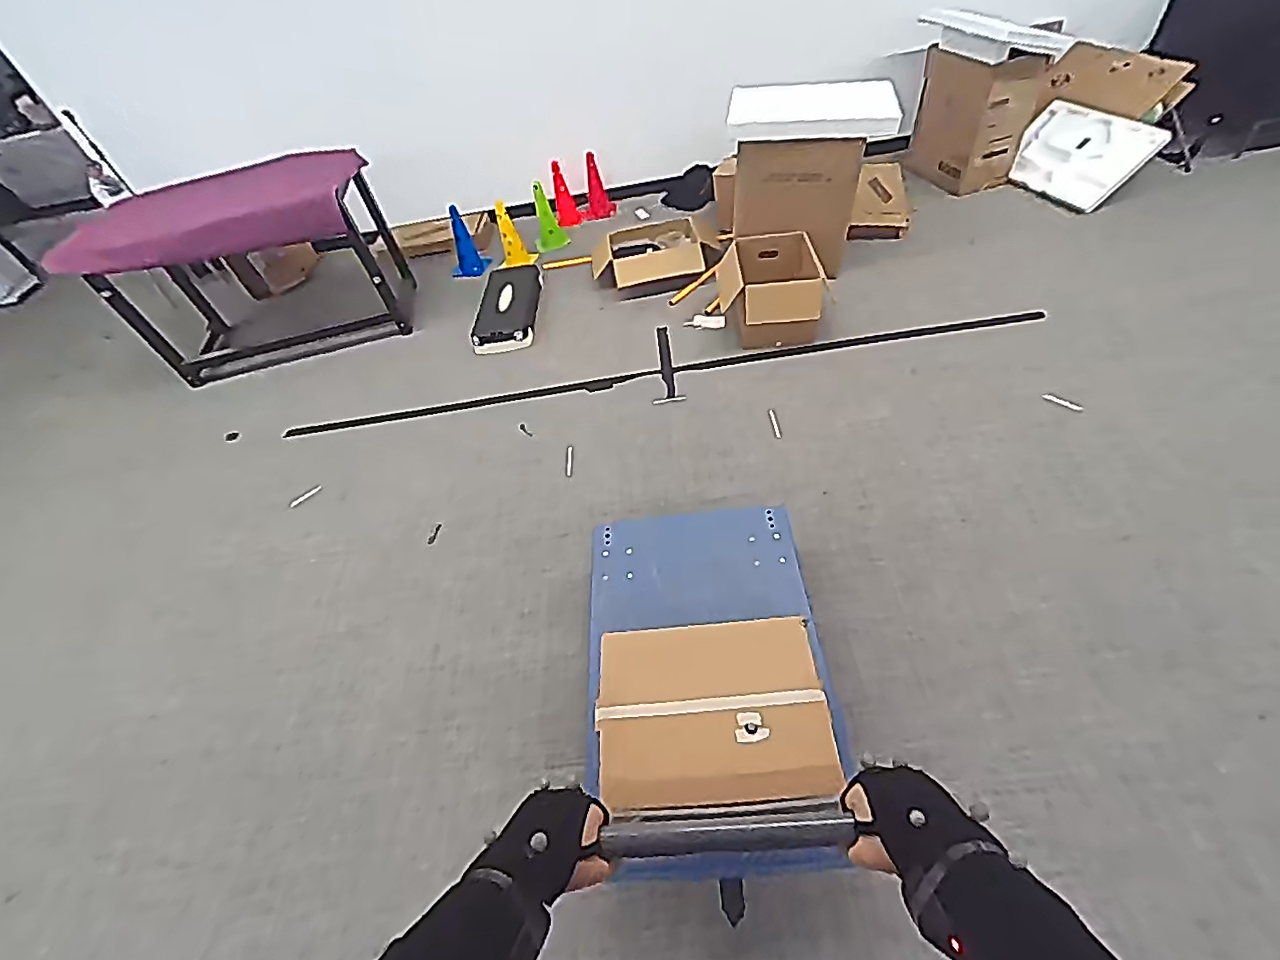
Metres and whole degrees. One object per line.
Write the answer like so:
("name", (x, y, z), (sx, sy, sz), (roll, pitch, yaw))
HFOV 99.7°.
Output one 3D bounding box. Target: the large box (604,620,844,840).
("large box", (0.146, 0.515, 1.101), (0.408, 0.320, 0.320), (-6, 50, 3))
